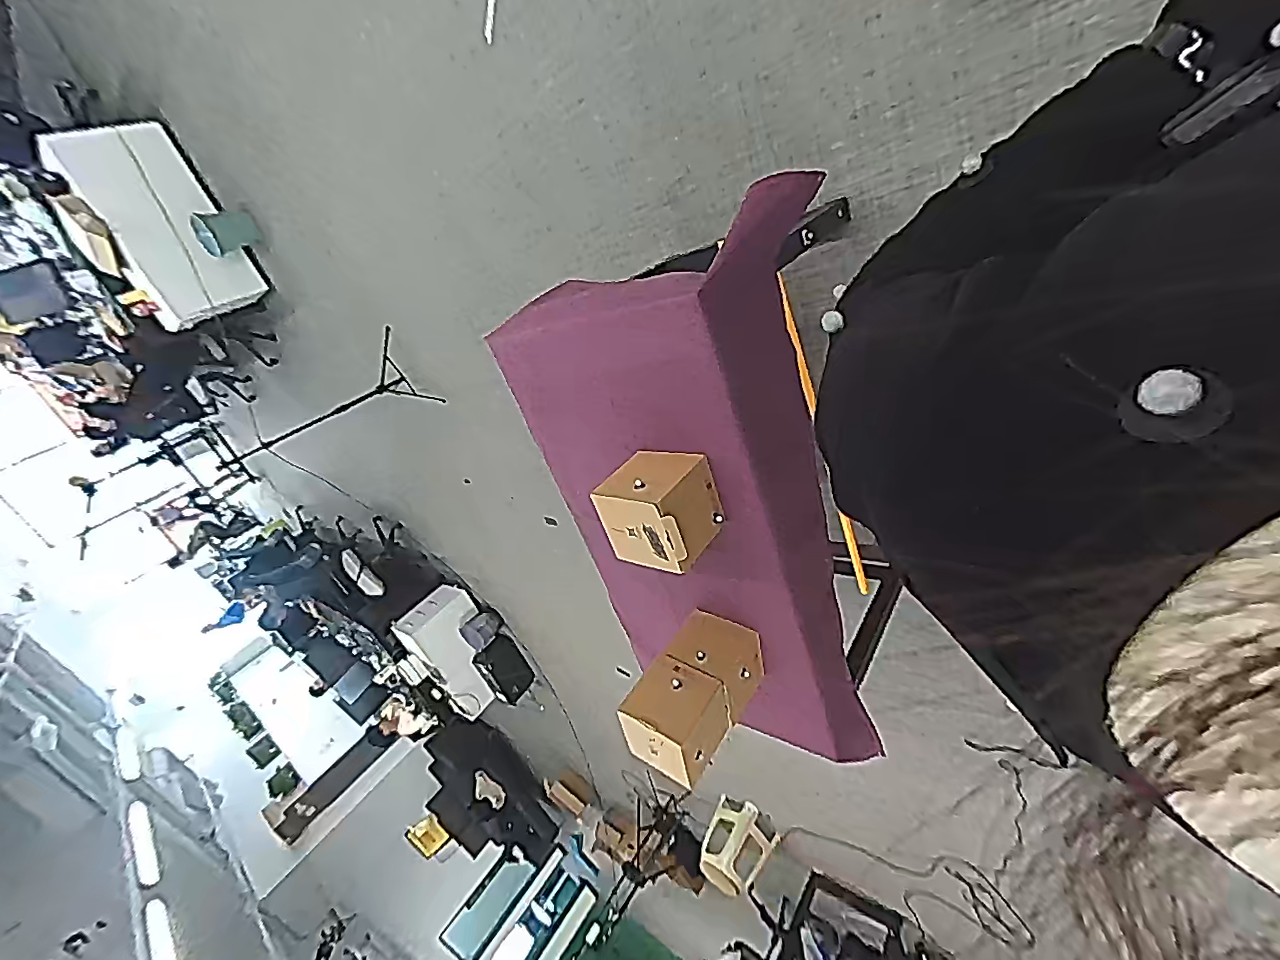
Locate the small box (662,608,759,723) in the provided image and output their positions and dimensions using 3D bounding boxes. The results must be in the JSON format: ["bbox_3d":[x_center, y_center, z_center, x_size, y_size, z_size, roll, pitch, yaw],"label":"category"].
[{"bbox_3d":[0.176,0.436,1.299,0.179,0.176,0.168,14,131,36],"label":"small box"}]

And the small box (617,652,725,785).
[{"bbox_3d":[0.078,0.520,1.198,0.168,0.176,0.179,14,131,34],"label":"small box"}]

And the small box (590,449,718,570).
[{"bbox_3d":[0.038,0.050,1.079,0.179,0.176,0.168,6,128,42],"label":"small box"}]
